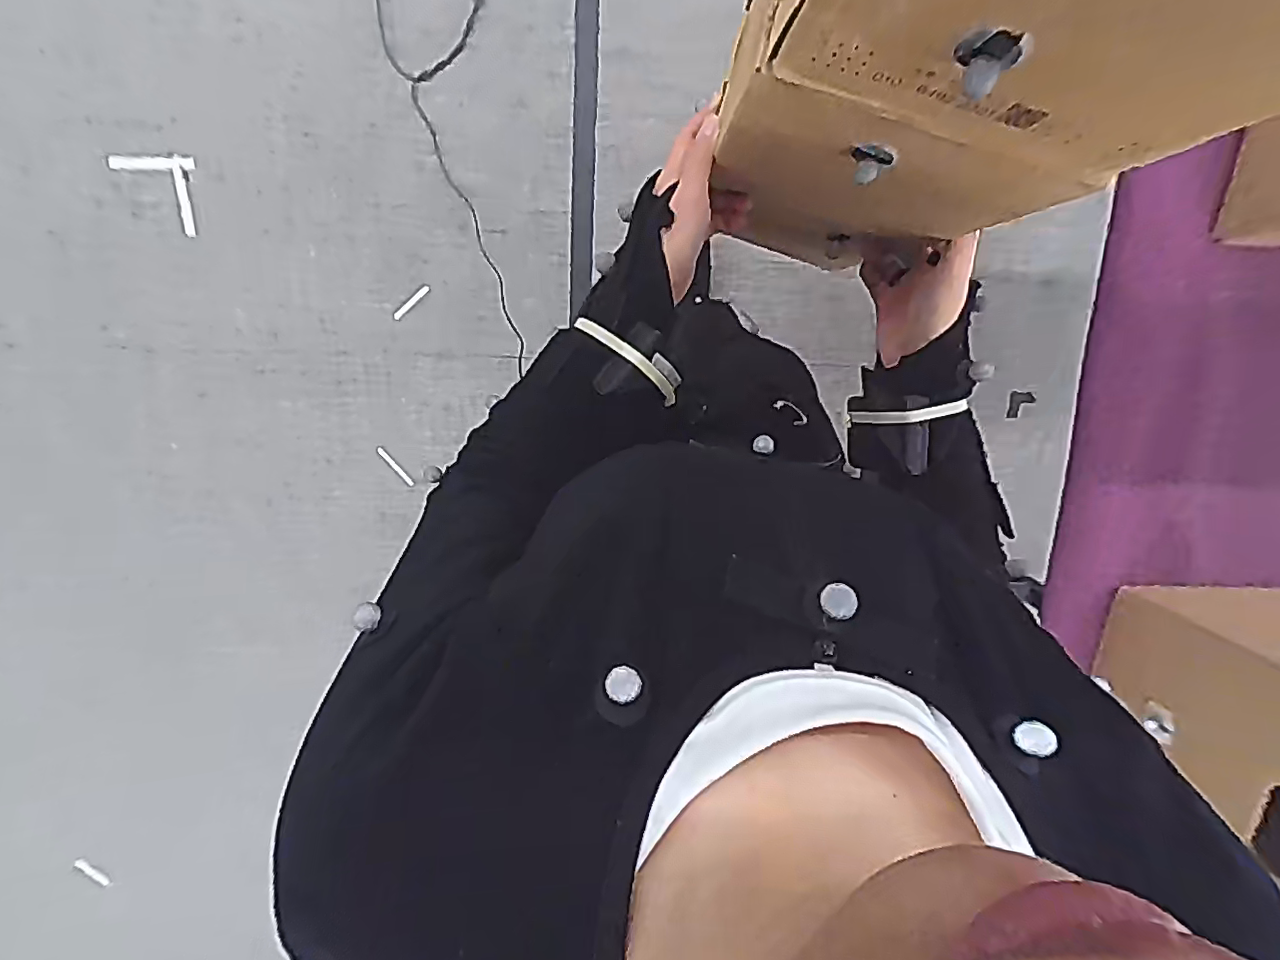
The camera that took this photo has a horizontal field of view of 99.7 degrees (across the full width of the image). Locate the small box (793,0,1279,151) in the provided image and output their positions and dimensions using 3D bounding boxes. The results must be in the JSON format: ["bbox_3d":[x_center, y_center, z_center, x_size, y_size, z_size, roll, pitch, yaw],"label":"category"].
[{"bbox_3d":[0.156,-0.219,0.133,0.168,0.176,0.179,13,104,-4],"label":"small box"}]

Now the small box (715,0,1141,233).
[{"bbox_3d":[0.152,-0.251,0.293,0.179,0.176,0.168,14,104,-5],"label":"small box"}]

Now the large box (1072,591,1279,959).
[{"bbox_3d":[0.805,0.324,0.591,0.408,0.320,0.320,0,105,-5],"label":"large box"}]
